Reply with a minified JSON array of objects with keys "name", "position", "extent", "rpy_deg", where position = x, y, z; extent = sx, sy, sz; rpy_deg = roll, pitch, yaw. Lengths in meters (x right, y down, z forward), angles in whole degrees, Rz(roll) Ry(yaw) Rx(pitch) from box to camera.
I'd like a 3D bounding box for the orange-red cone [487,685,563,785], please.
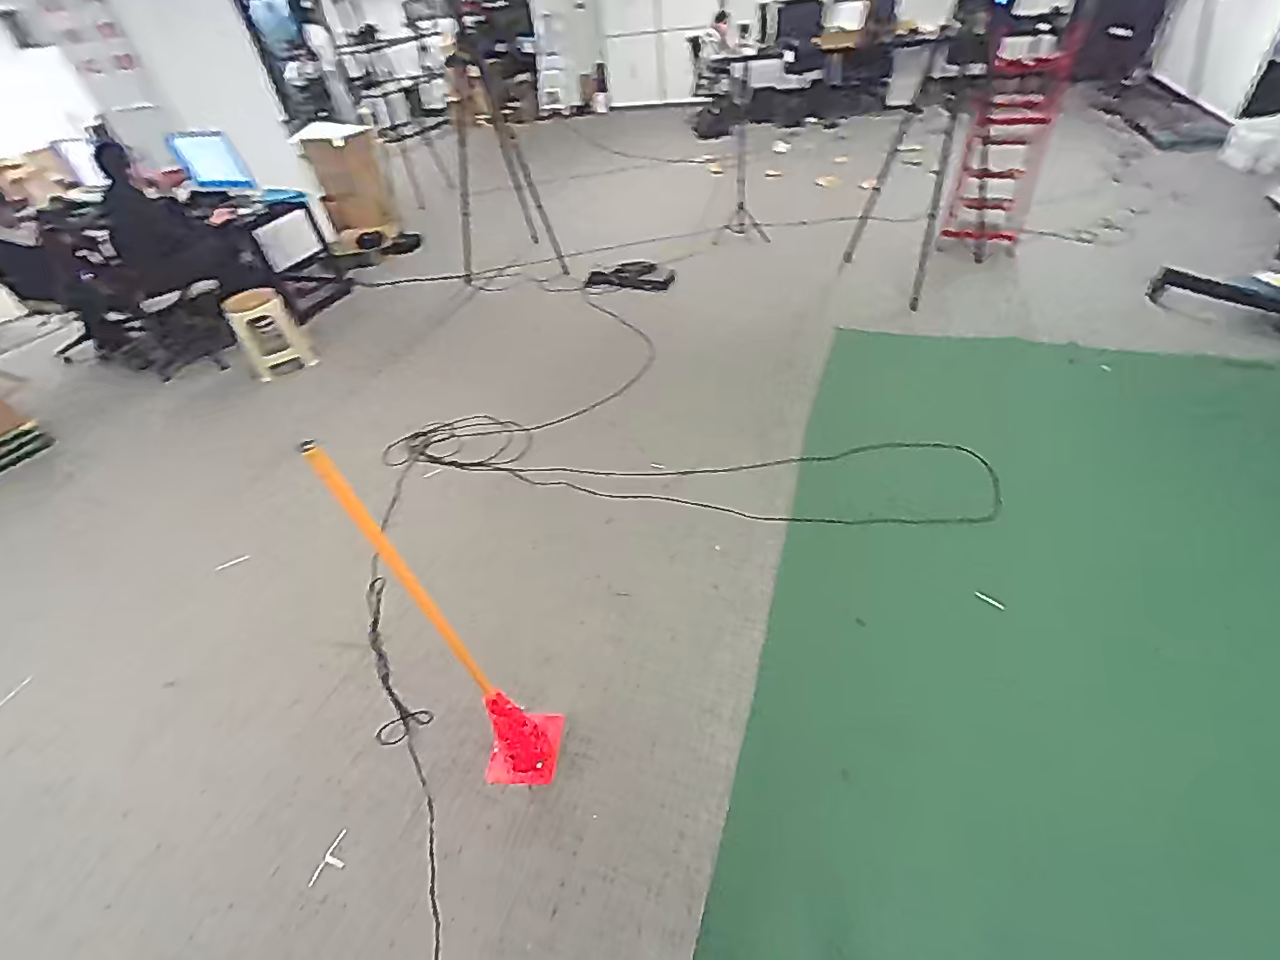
[{"name":"orange-red cone","position":[-0.355,0.663,1.486],"extent":[0.198,0.360,0.199],"rpy_deg":[0,42,8]}]
